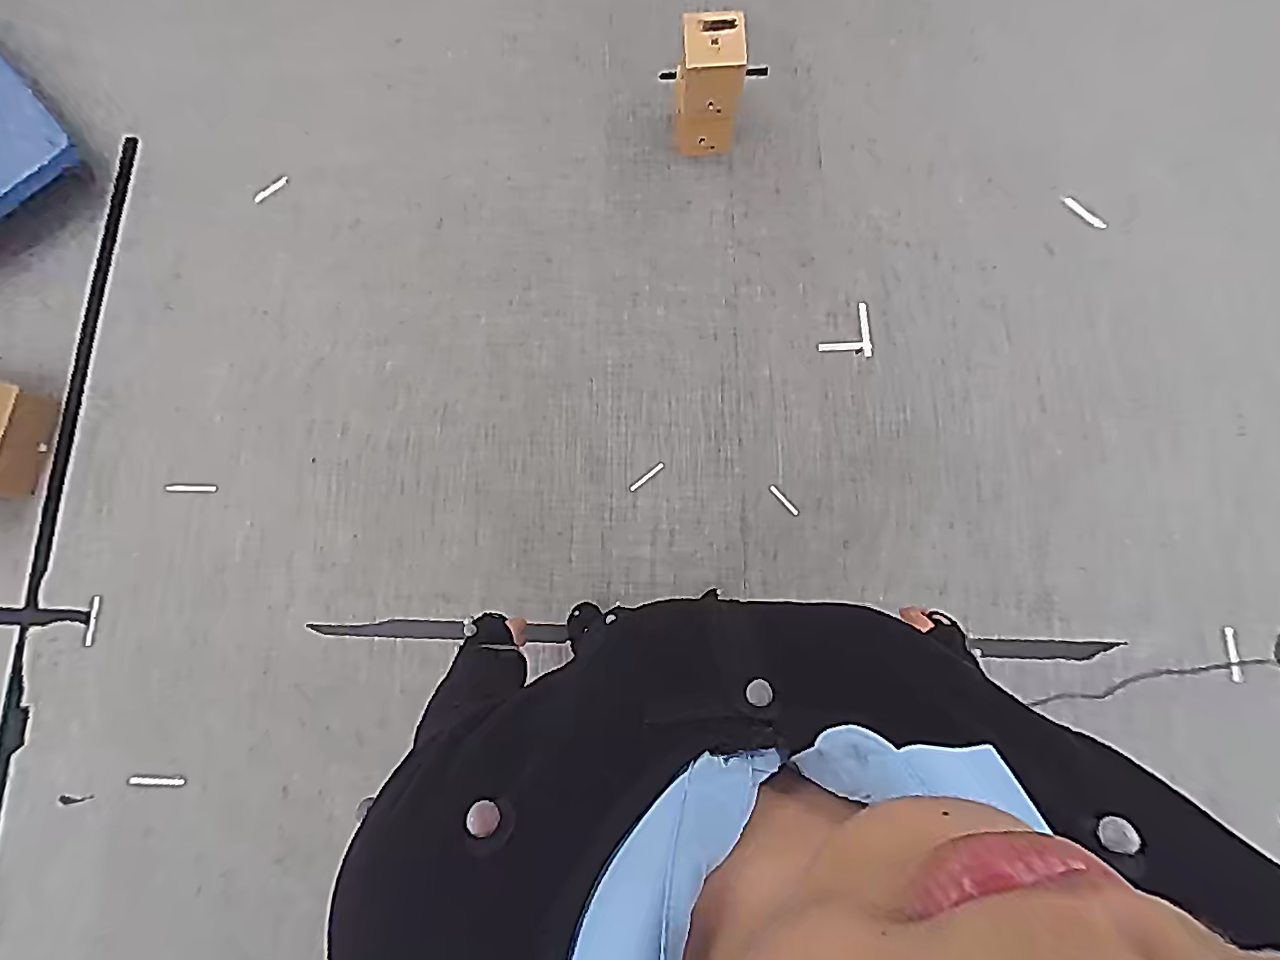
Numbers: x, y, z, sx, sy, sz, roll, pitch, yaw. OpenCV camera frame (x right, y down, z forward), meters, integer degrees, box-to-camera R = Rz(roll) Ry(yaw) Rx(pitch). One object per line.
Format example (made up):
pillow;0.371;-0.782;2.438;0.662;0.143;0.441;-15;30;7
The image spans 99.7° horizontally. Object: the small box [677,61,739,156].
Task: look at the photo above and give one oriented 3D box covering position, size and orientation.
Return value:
small box;0.208;-1.161;1.696;0.168;0.176;0.179;-5;79;1
